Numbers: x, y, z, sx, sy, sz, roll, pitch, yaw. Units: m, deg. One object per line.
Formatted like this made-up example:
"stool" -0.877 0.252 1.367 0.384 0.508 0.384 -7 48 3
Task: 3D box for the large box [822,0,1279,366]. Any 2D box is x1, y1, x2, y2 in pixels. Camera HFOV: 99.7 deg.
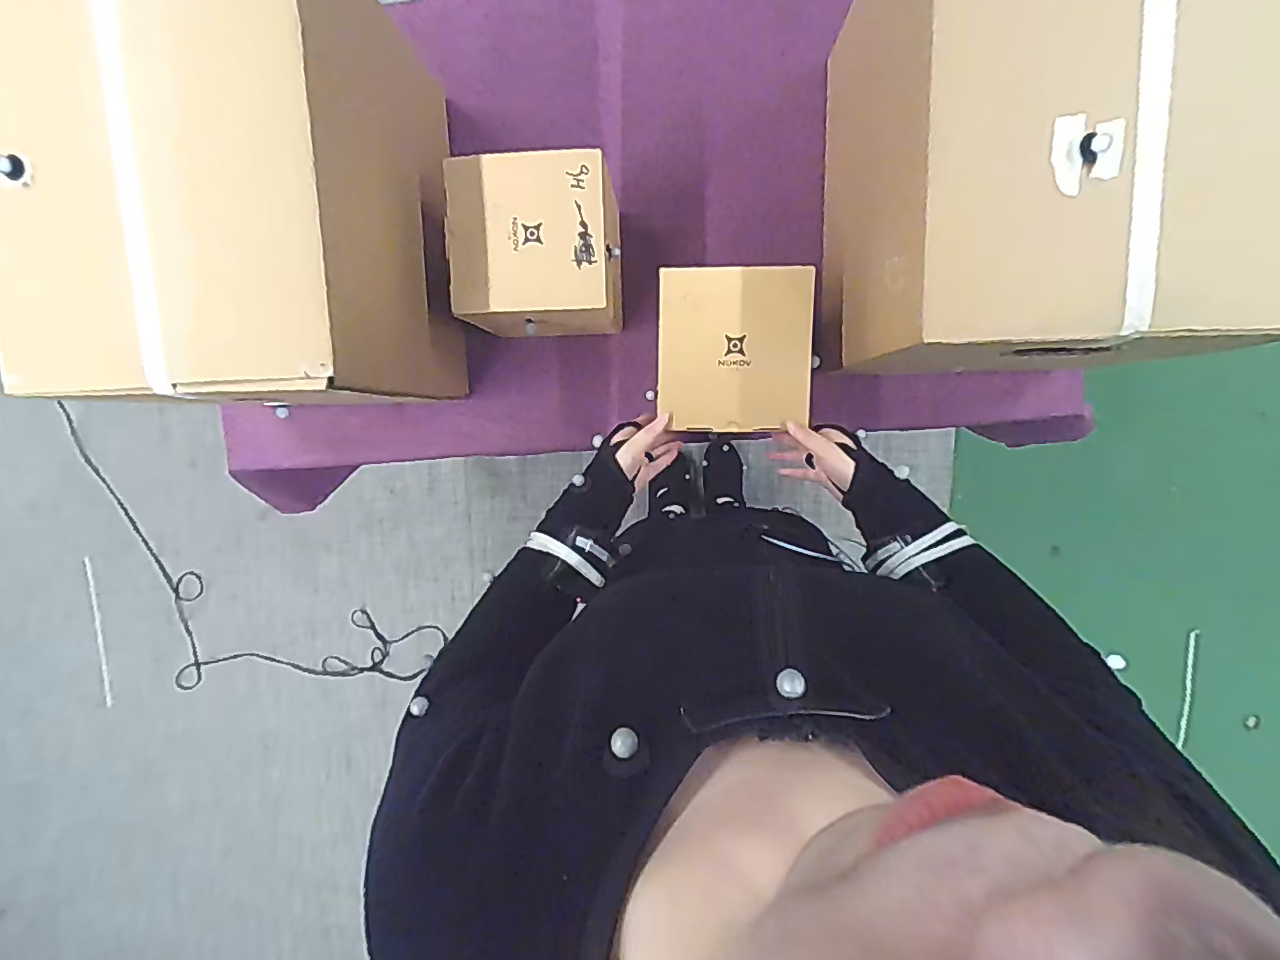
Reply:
"large box" 0.387 -0.336 0.561 0.320 0.320 0.408 0 97 3
